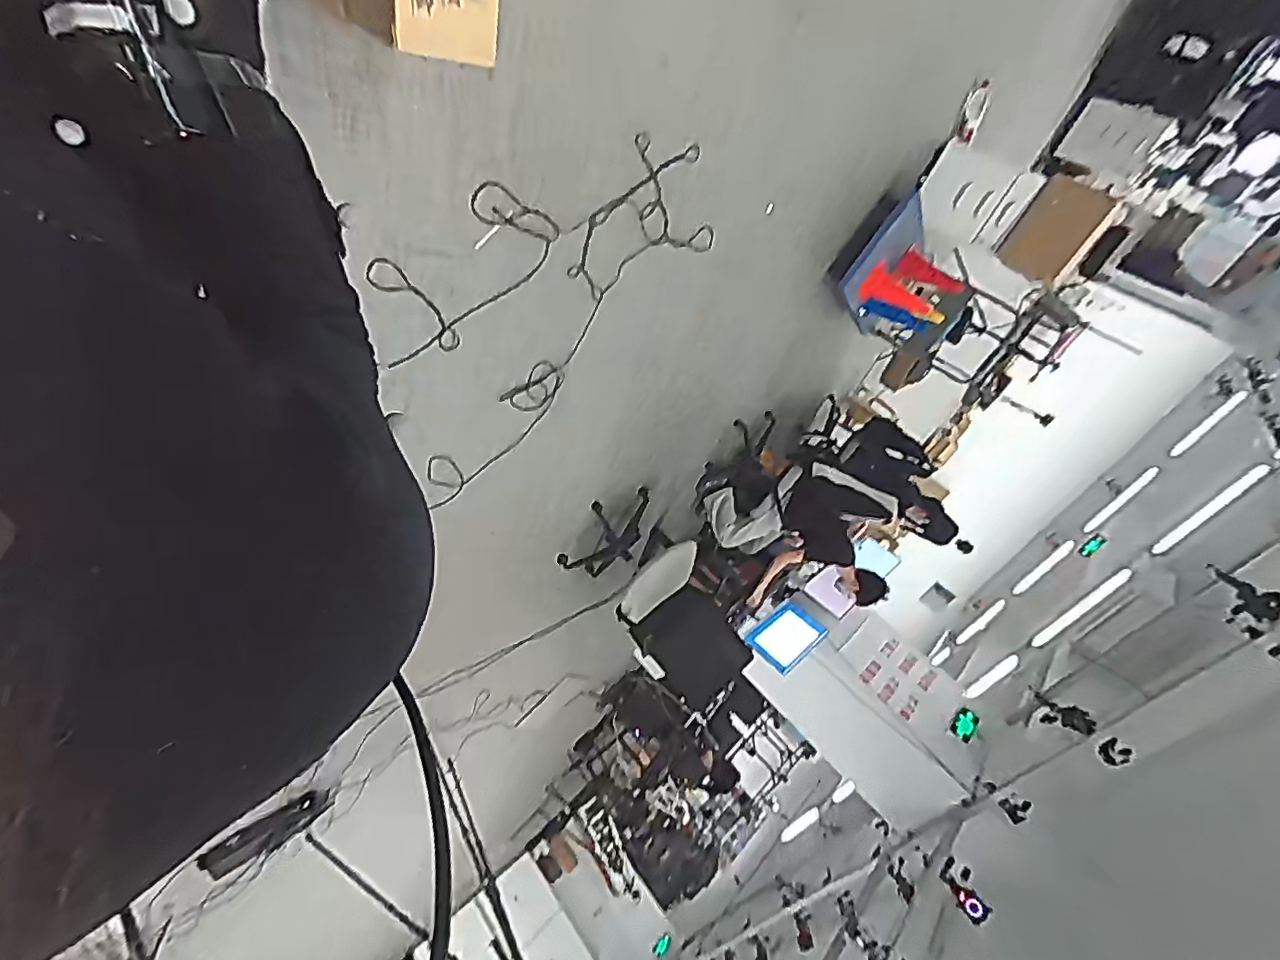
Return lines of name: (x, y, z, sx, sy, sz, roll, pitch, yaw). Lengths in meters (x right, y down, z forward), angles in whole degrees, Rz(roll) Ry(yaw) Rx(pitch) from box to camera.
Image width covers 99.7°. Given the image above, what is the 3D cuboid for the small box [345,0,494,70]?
small box: (-0.352, -0.783, 0.856, 0.179, 0.176, 0.168, -26, 147, -40)
